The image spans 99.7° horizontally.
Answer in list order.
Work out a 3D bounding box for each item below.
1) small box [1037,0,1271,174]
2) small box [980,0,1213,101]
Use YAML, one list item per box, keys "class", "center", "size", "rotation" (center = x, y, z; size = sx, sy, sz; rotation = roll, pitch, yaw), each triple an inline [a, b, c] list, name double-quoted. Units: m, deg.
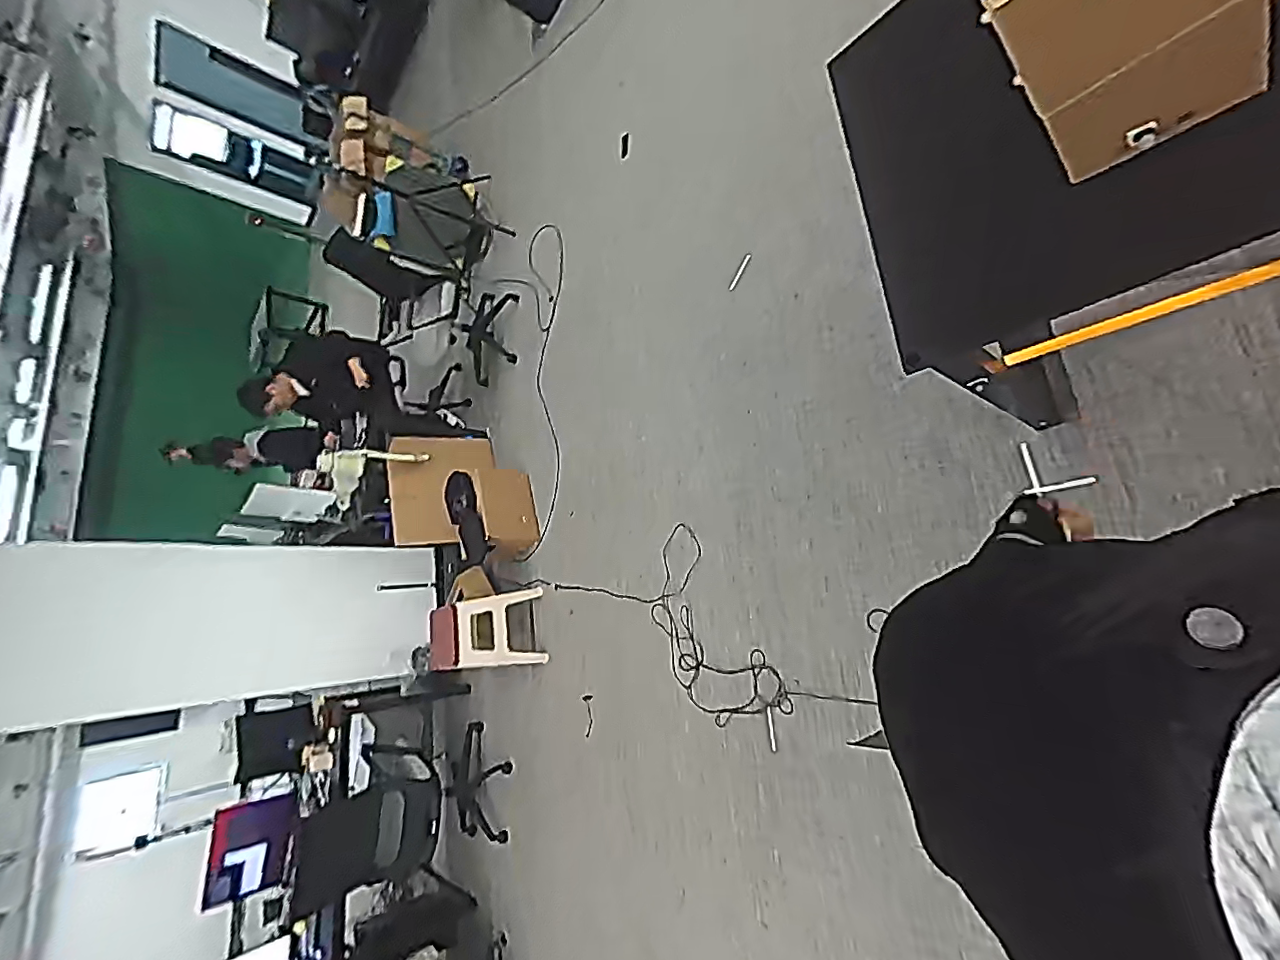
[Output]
- class: "small box"
  center: [0.529, -0.481, 0.585]
  size: [0.168, 0.176, 0.179]
  rotation: [-22, 70, 46]
- class: "small box"
  center: [0.406, -0.494, 0.476]
  size: [0.179, 0.176, 0.168]
  rotation: [-22, 68, 45]
